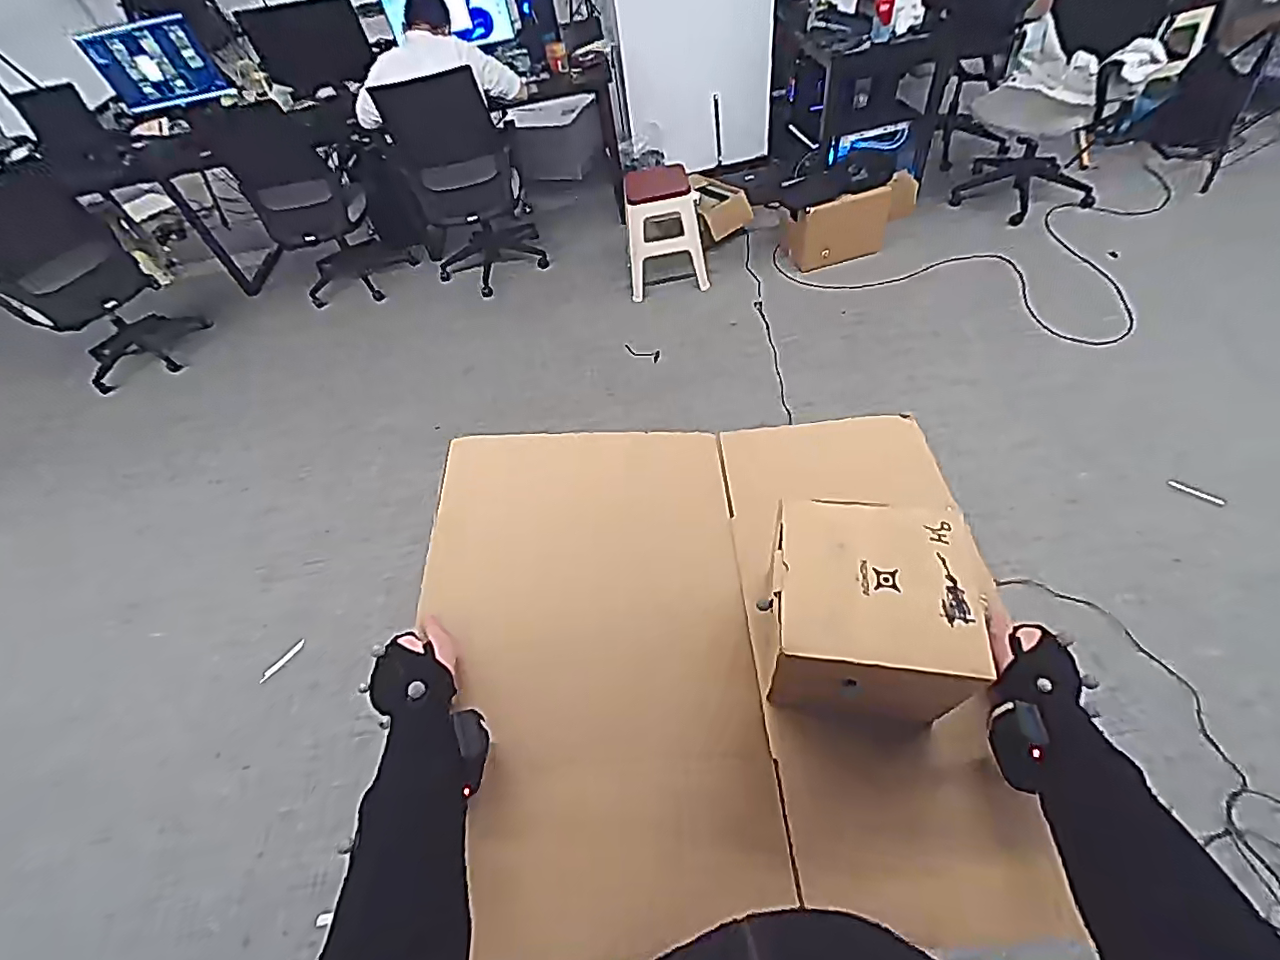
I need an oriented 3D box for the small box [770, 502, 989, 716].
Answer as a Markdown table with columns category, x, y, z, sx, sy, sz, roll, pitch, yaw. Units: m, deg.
| category | x | y | z | sx | sy | sz | roll | pitch | yaw |
| --- | --- | --- | --- | --- | --- | --- | --- | --- | --- |
| small box | 0.232 | 0.140 | 0.575 | 0.179 | 0.176 | 0.168 | 3 | 56 | 12 |
